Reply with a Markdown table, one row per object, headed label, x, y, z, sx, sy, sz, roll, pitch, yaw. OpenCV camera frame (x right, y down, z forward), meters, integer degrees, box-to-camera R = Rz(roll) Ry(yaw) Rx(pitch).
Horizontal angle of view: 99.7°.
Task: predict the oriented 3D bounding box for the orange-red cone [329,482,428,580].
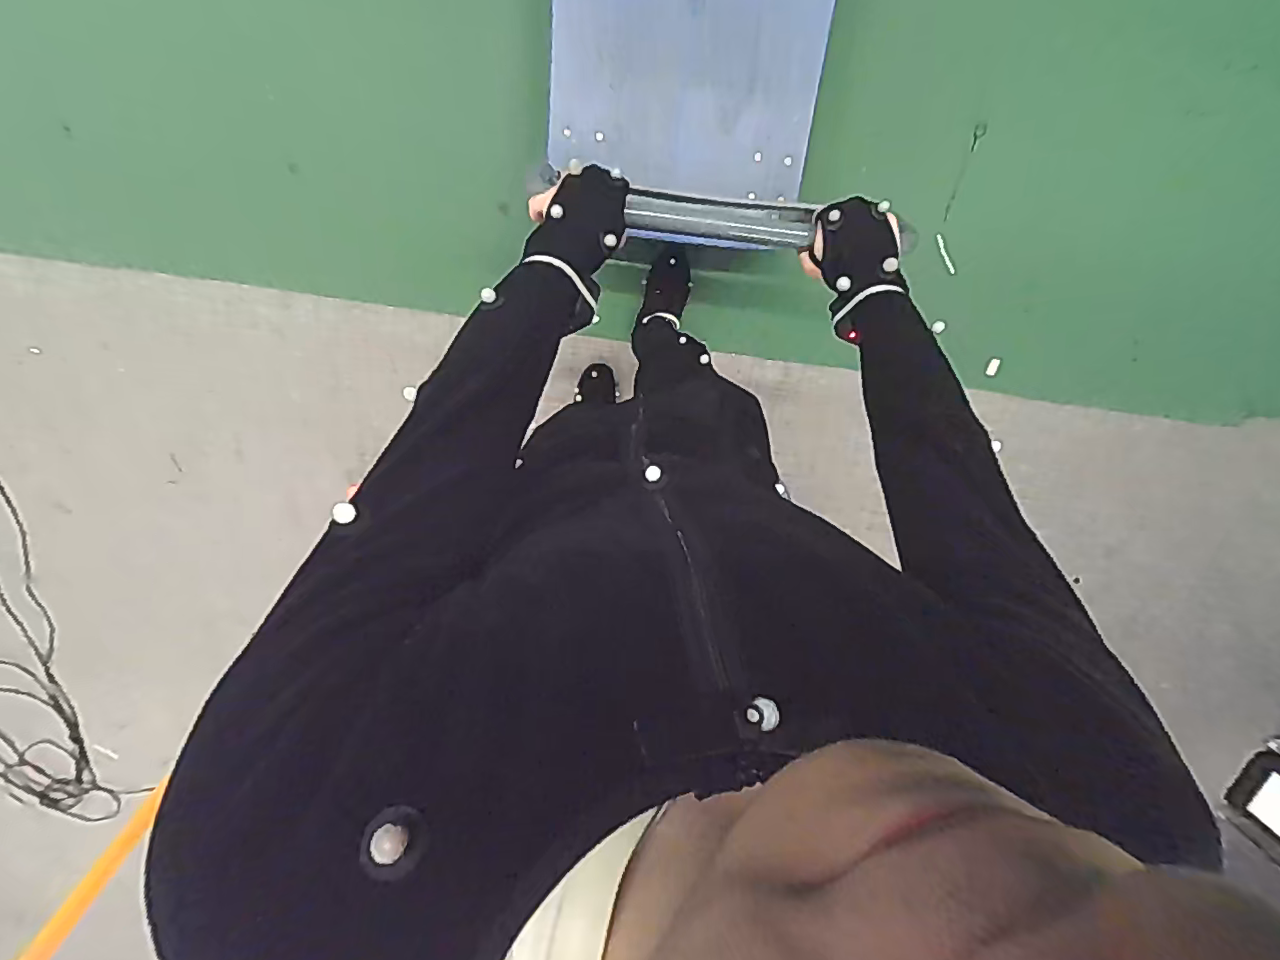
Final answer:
| label | x | y | z | sx | sy | sz | roll | pitch | yaw |
| --- | --- | --- | --- | --- | --- | --- | --- | --- | --- |
| orange-red cone | -0.747 | 0.164 | 1.476 | 0.199 | 0.360 | 0.198 | -7 | 111 | 0 |
